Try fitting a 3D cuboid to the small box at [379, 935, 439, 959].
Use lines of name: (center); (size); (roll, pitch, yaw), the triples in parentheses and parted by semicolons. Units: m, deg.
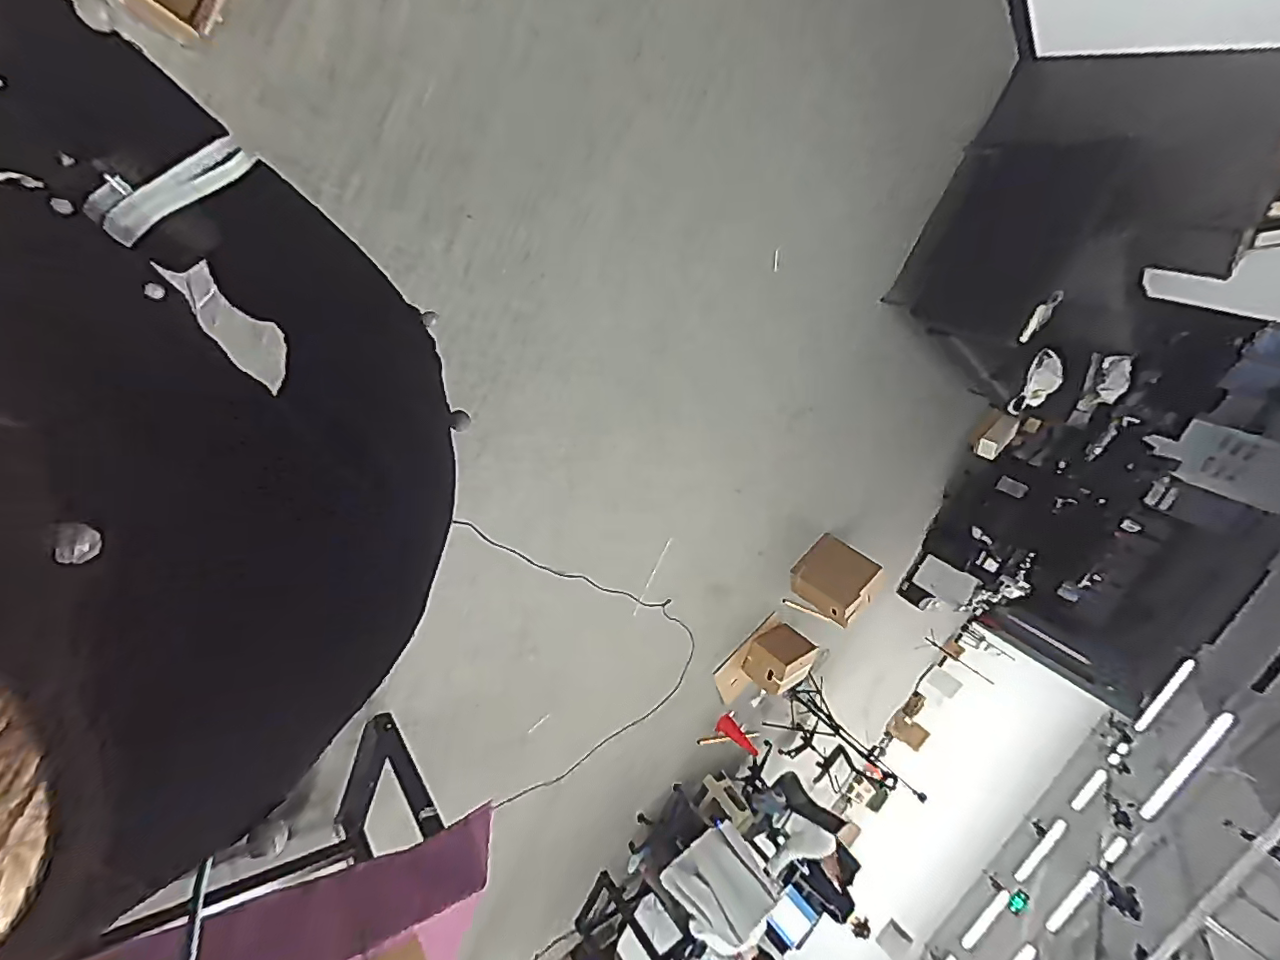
small box: (-0.606, 1.315, 1.358); (0.179, 0.176, 0.168); (9, 112, -46)
